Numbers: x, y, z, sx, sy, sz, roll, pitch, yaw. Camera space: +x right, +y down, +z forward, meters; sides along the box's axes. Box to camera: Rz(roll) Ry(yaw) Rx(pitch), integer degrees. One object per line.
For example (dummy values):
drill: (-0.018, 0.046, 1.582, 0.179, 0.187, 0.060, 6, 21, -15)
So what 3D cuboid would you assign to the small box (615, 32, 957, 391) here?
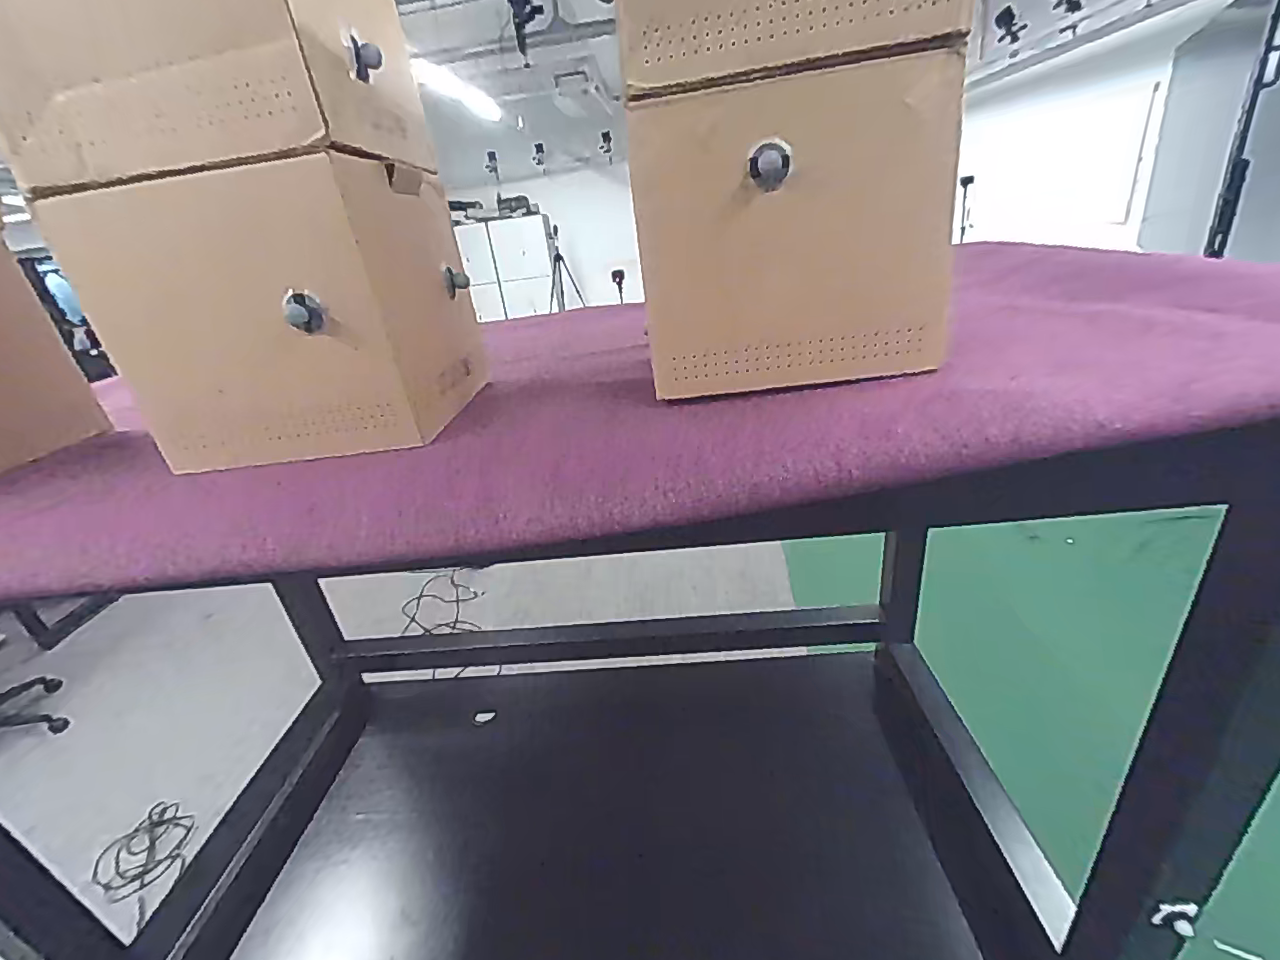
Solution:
small box: (0.089, -0.165, 0.376, 0.179, 0.176, 0.168, -5, 24, 7)

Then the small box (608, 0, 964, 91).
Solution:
small box: (0.069, -0.314, 0.311, 0.179, 0.176, 0.168, -6, 24, 8)

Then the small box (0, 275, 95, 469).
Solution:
small box: (-0.572, -0.072, 0.384, 0.168, 0.176, 0.179, -6, 27, 3)

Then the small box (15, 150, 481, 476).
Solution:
small box: (-0.232, -0.117, 0.383, 0.179, 0.176, 0.168, -7, 25, 4)

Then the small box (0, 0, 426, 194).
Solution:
small box: (-0.256, -0.263, 0.315, 0.179, 0.176, 0.168, -7, 25, 3)
